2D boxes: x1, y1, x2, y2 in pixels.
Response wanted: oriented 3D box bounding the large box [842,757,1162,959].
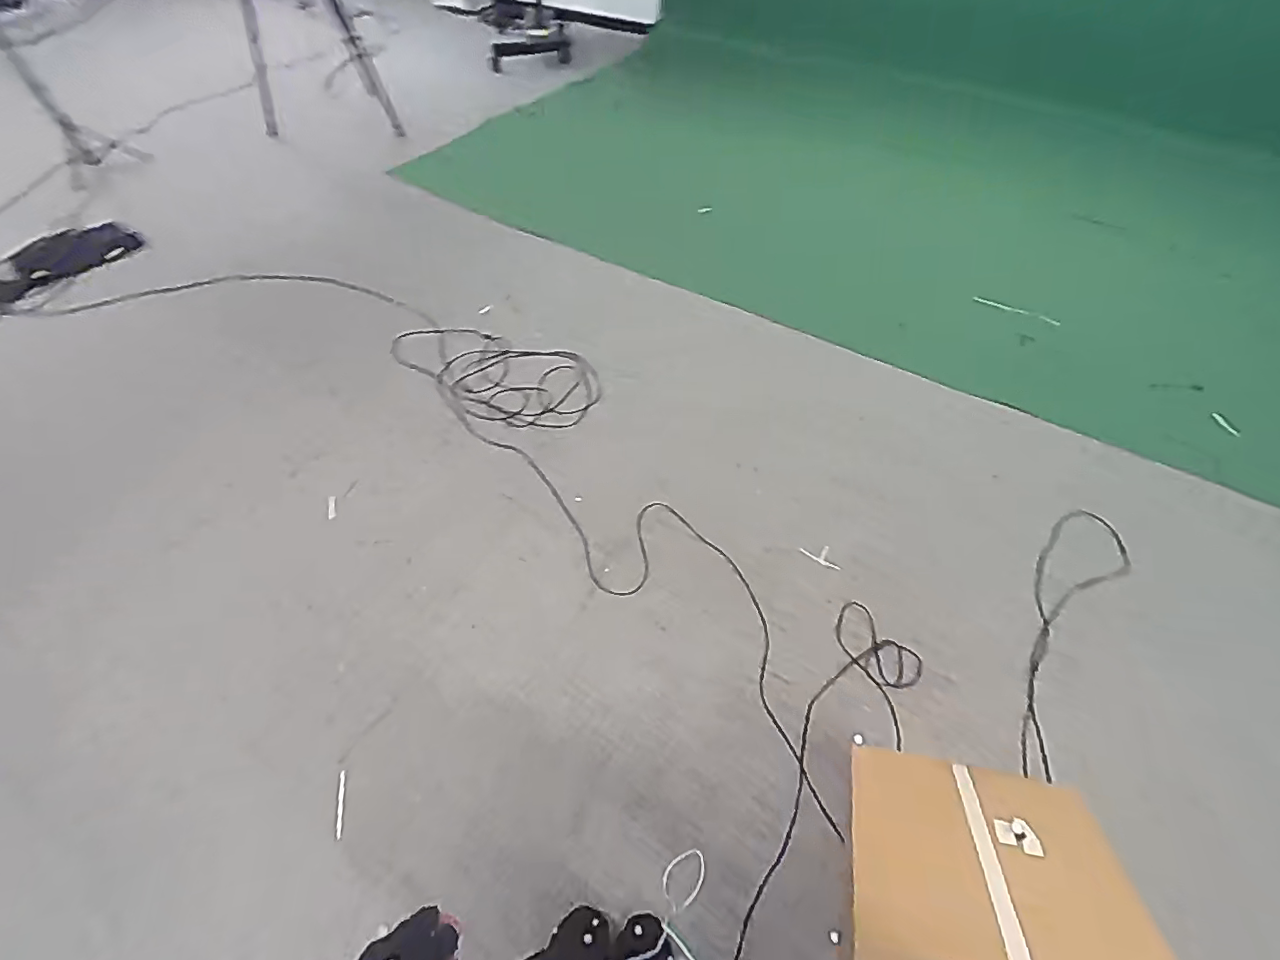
[{"bbox_3d":[0.428,0.646,0.689,0.320,0.320,0.408,5,10,20],"label":"large box"}]
